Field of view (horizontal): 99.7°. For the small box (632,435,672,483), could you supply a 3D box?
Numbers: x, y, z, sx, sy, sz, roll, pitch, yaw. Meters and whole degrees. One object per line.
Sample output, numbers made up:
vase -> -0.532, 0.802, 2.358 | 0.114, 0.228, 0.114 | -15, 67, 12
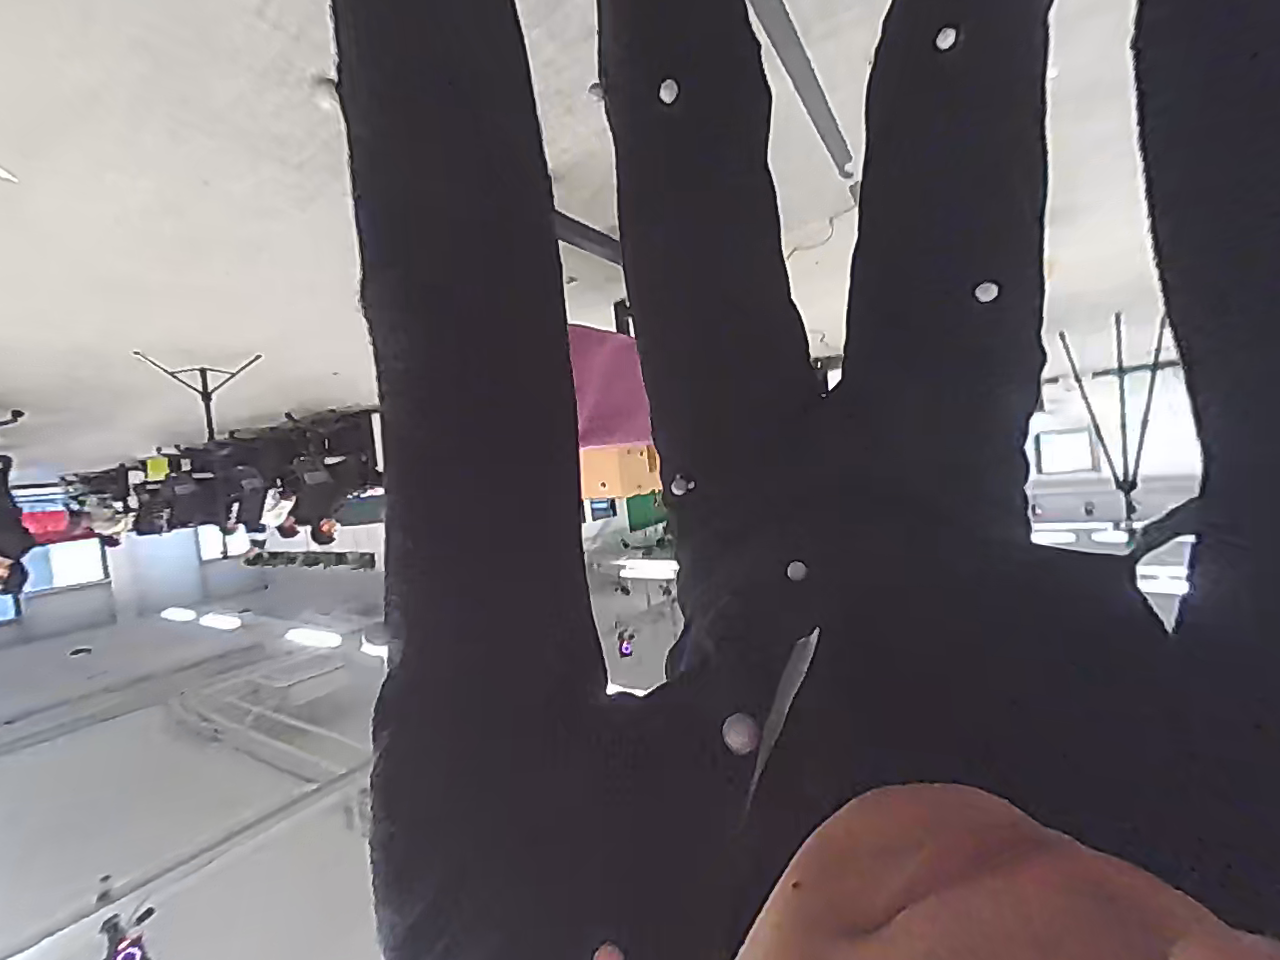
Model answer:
small box -> -0.001, -0.078, 2.020 | 0.179, 0.176, 0.168 | -5, -177, 28

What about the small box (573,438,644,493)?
small box -> -0.110, -0.054, 1.830 | 0.179, 0.176, 0.168 | -3, -175, 35
